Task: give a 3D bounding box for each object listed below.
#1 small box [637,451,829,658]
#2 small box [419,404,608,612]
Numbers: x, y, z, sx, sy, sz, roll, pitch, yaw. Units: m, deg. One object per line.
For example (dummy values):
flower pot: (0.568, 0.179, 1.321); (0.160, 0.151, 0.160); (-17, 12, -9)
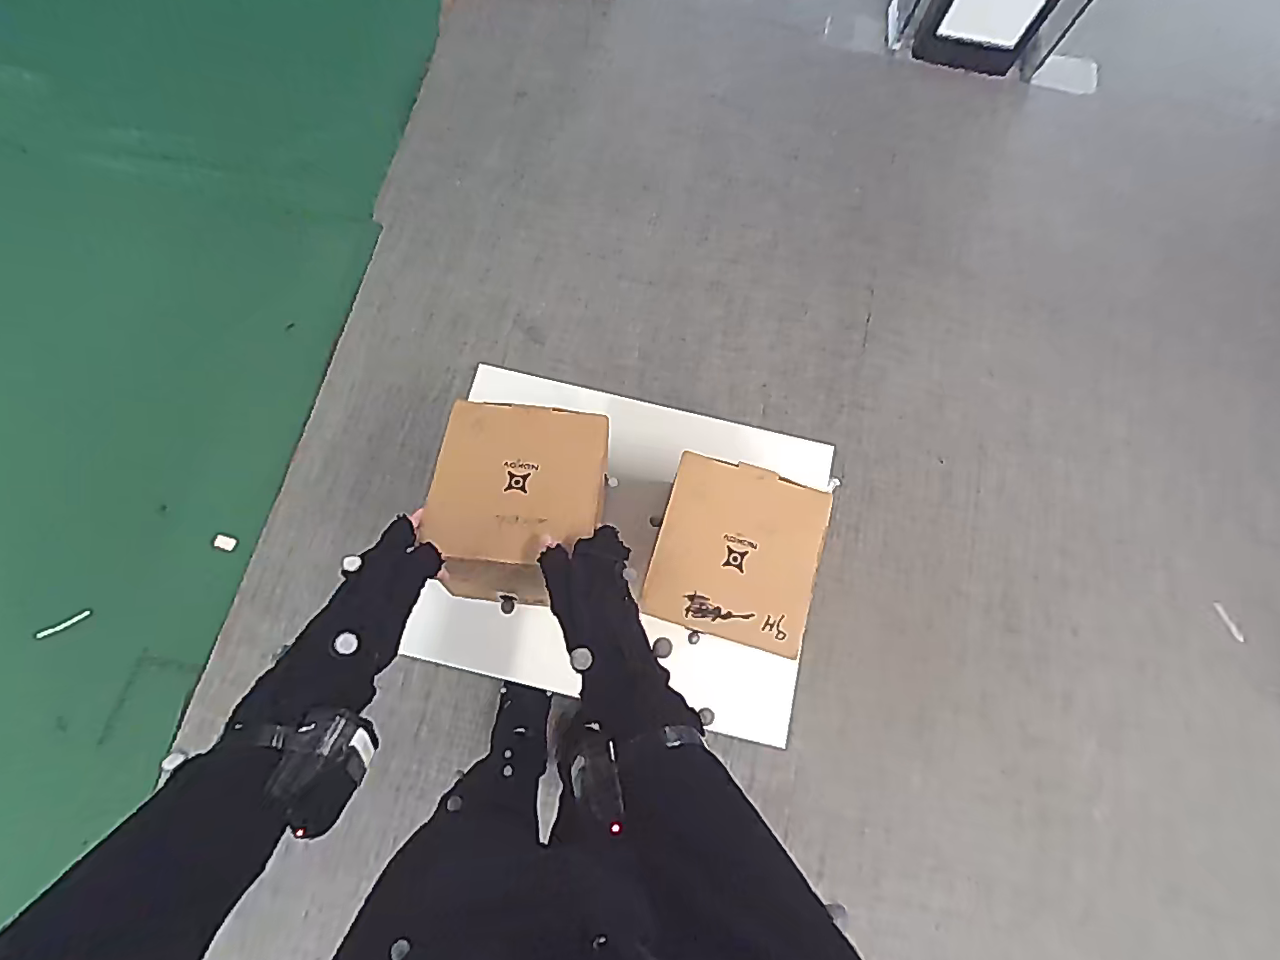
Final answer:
small box: (0.096, 0.091, 0.632); (0.168, 0.176, 0.179); (17, 77, 3)
small box: (-0.126, 0.038, 0.613); (0.168, 0.176, 0.179); (4, 63, -1)
